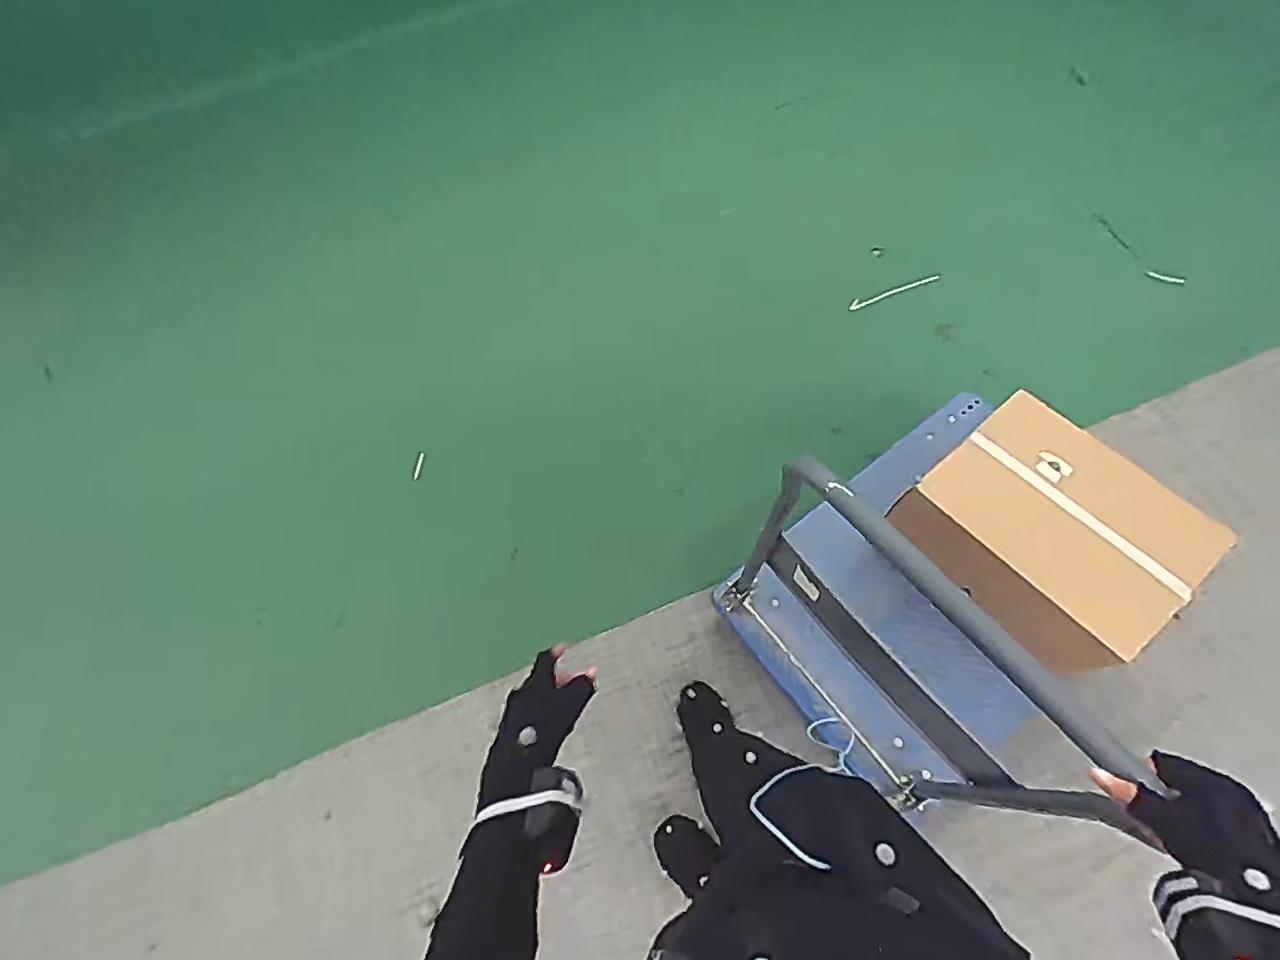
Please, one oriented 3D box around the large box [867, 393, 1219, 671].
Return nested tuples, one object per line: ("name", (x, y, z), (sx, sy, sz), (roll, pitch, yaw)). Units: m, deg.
("large box", (0.751, 0.114, 1.087), (0.320, 0.320, 0.408), (-38, 66, -12))
